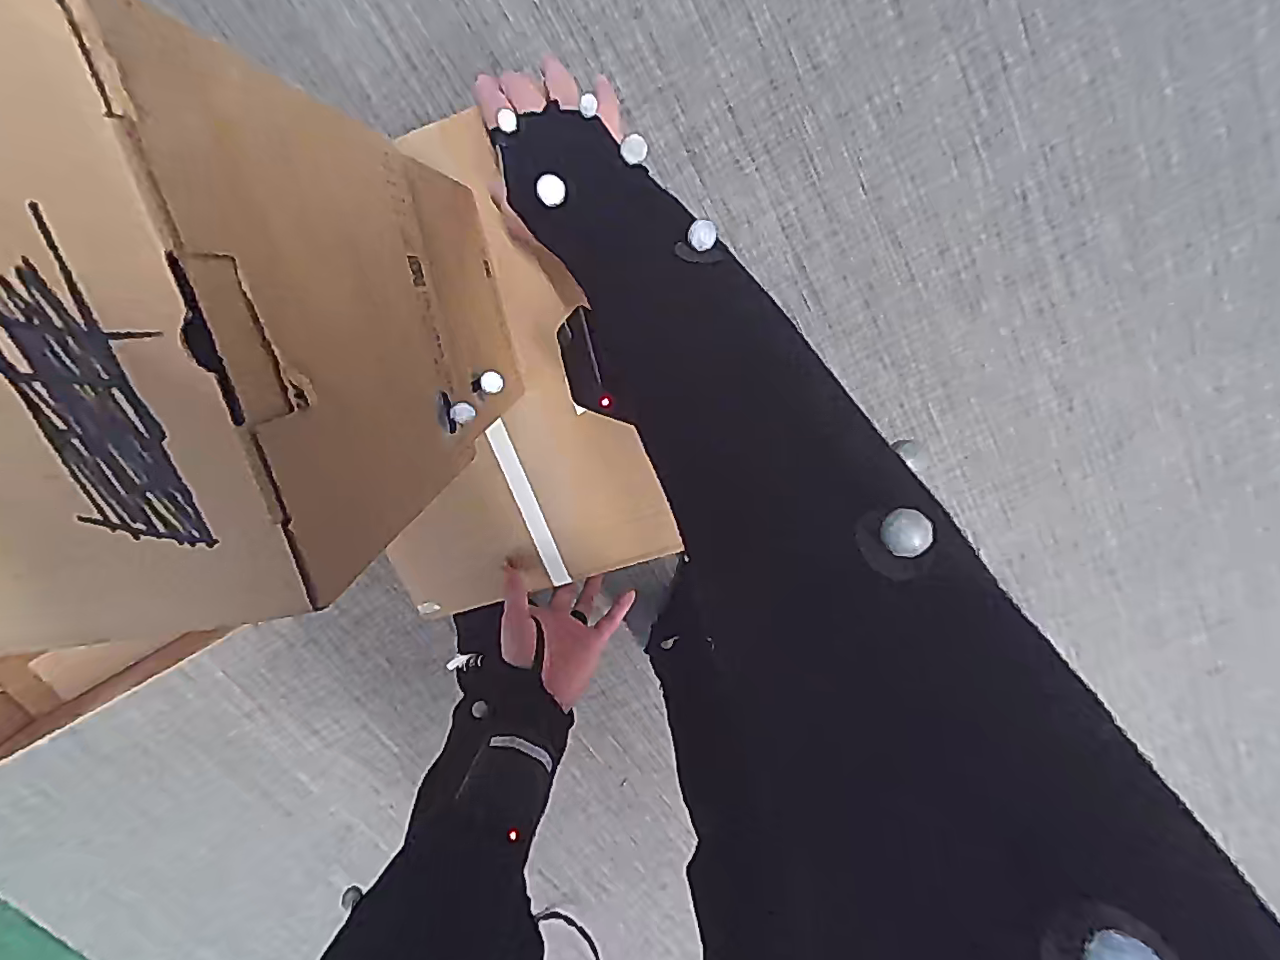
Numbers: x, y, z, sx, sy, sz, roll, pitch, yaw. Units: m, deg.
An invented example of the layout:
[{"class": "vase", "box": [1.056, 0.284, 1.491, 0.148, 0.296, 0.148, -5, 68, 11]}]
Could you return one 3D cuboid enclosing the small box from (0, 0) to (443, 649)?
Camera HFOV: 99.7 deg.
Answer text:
[{"class": "small box", "box": [-0.196, -0.054, 0.214, 0.179, 0.176, 0.168, -7, 109, 4]}]
